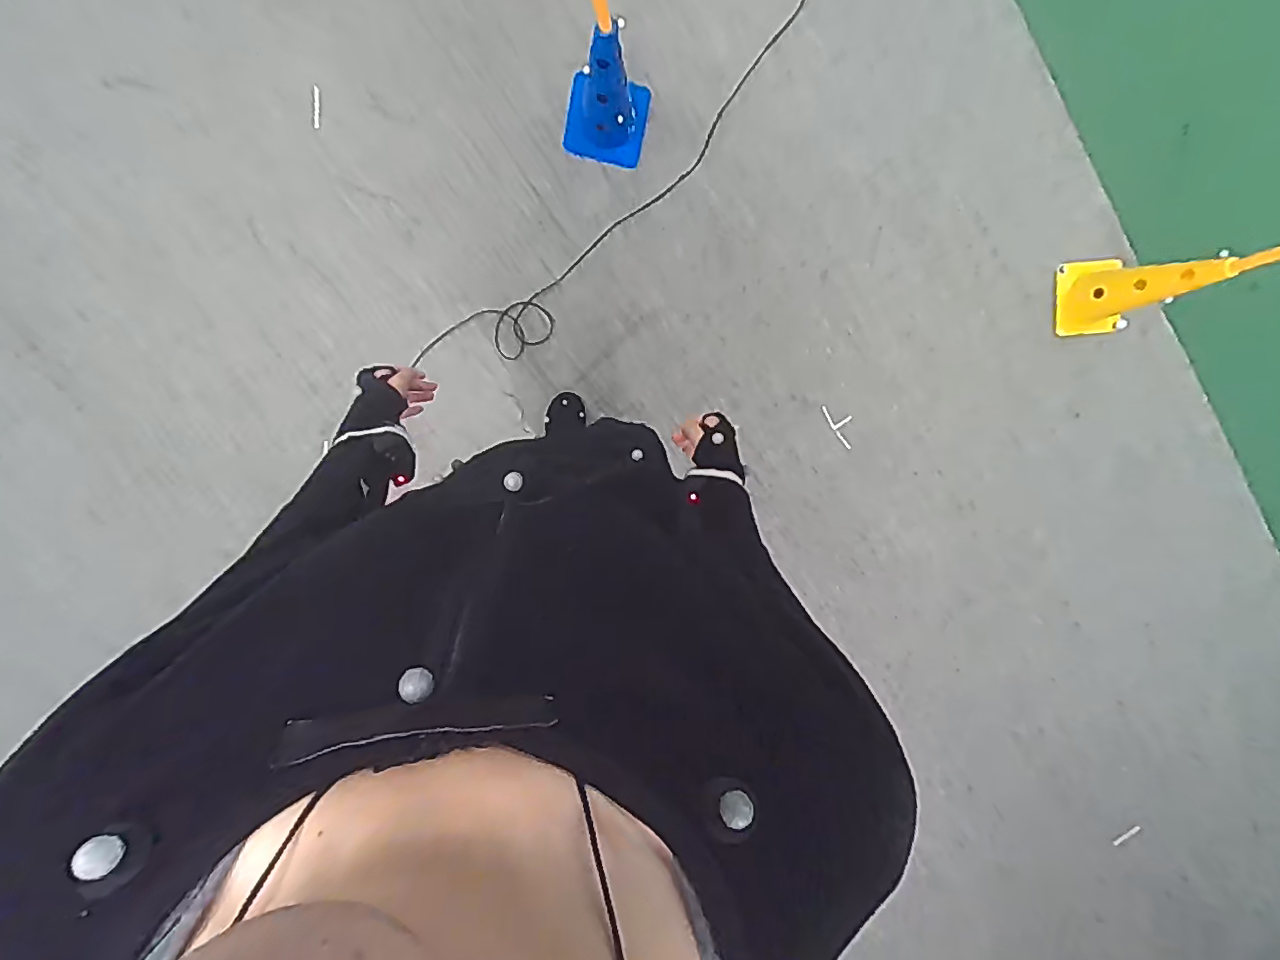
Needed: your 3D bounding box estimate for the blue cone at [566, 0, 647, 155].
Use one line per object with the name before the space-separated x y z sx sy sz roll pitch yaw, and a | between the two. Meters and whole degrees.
blue cone | -0.077 -0.897 1.188 0.193 0.380 0.192 10 98 -4
